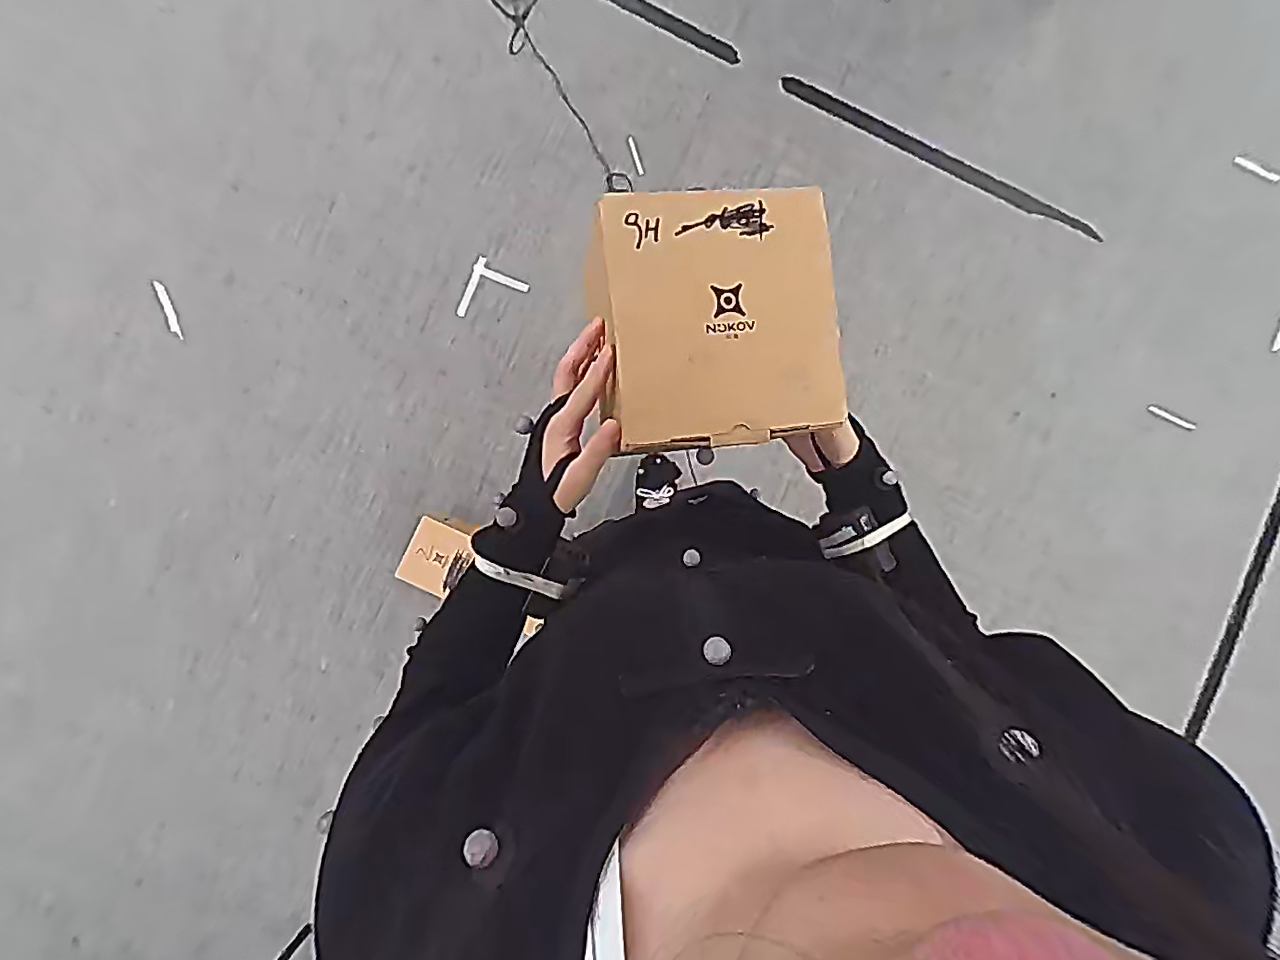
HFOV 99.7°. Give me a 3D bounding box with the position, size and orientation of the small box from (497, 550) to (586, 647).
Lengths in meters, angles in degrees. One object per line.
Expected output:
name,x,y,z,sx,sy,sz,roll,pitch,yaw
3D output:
small box,-0.245,0.300,1.403,0.168,0.176,0.179,26,87,-4

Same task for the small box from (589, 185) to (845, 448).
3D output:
small box,0.050,-0.119,0.456,0.168,0.176,0.179,-6,92,-10
